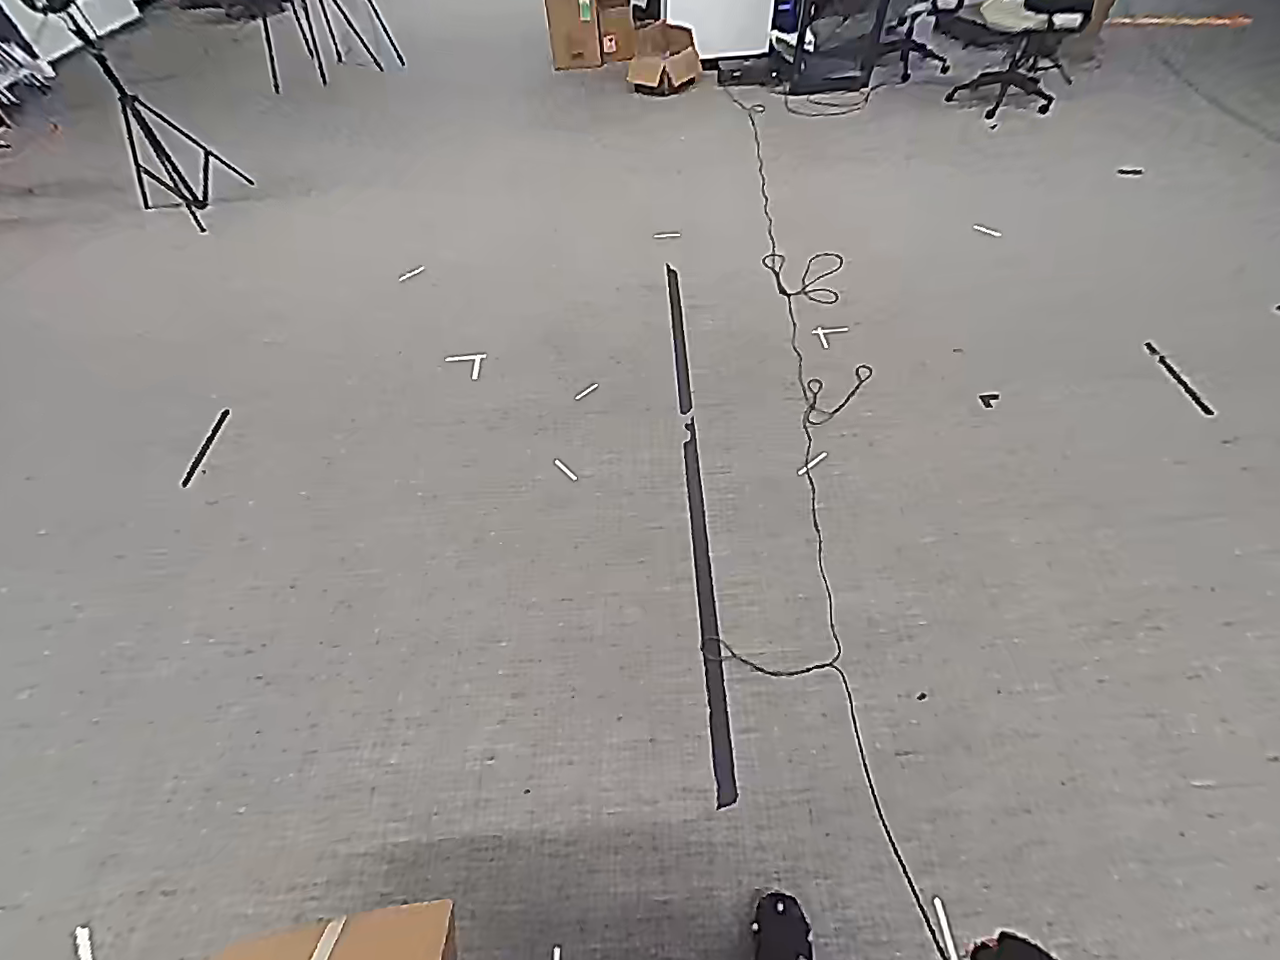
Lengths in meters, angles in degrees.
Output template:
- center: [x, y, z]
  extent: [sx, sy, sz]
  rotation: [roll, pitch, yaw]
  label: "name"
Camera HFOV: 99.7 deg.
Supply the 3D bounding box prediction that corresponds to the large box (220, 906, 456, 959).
- center: [-0.382, 0.792, 0.592]
  extent: [0.320, 0.408, 0.320]
  rotation: [-4, 90, -10]
  label: "large box"
